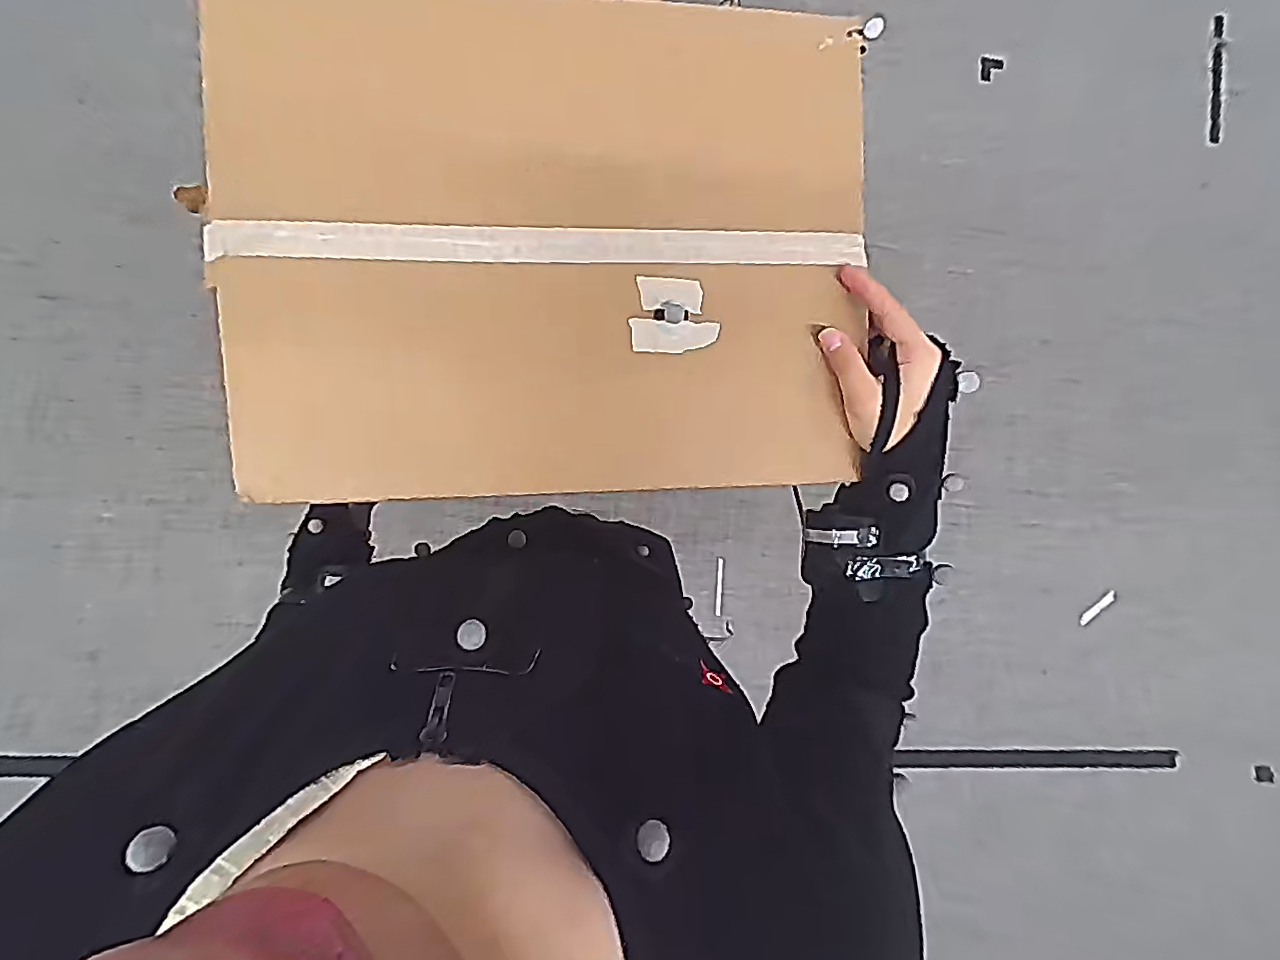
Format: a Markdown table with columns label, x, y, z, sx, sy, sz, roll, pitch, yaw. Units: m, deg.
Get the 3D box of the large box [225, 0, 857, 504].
| label | x | y | z | sx | sy | sz | roll | pitch | yaw |
| --- | --- | --- | --- | --- | --- | --- | --- | --- | --- |
| large box | -0.068 | -0.155 | 0.502 | 0.408 | 0.320 | 0.320 | -3 | 94 | -9 |
